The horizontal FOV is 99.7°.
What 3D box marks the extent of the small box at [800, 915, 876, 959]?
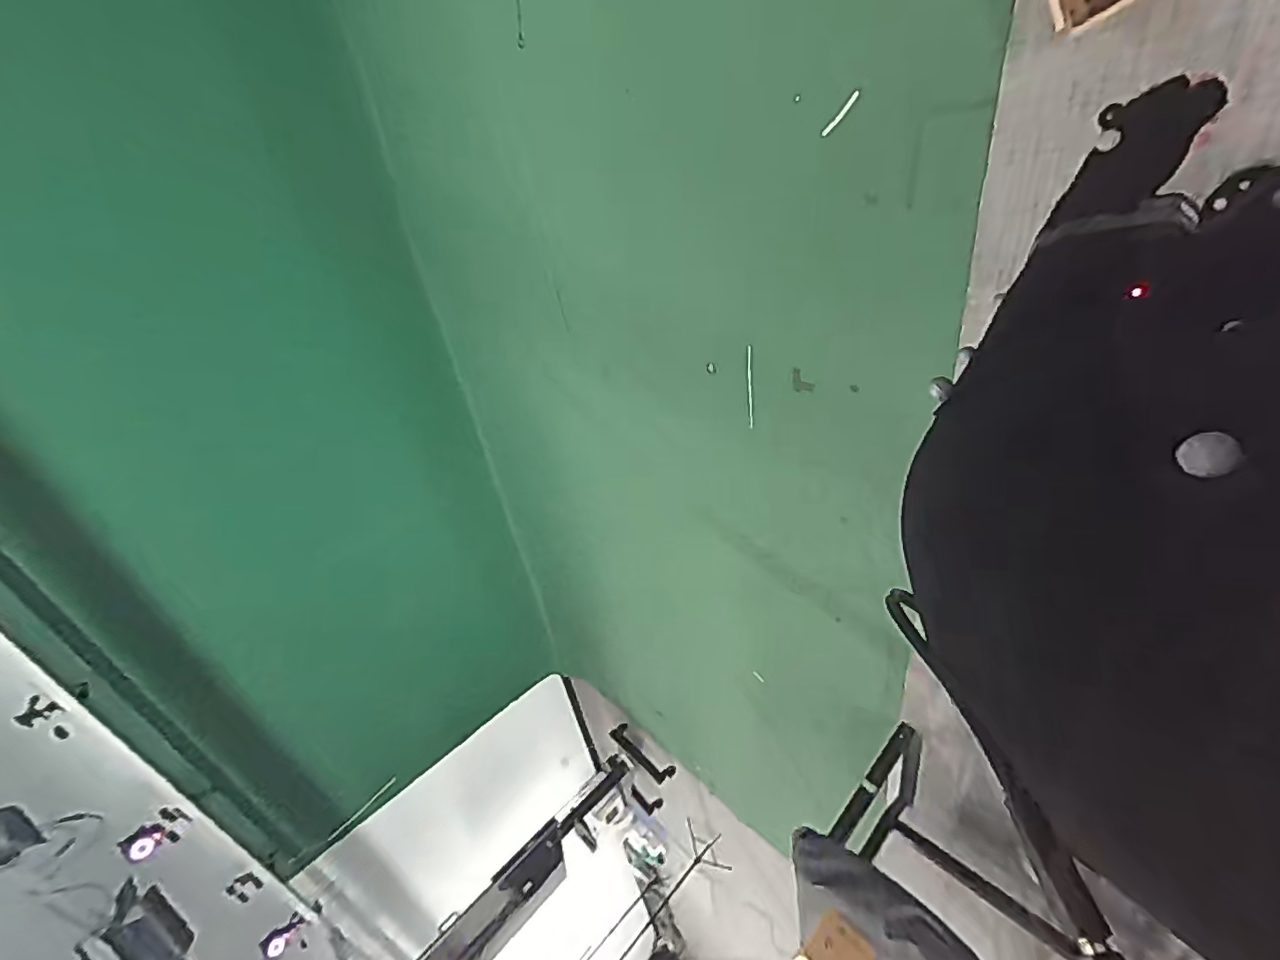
[{"bbox_3d":[0.604,1.488,1.659,0.168,0.176,0.179,35,143,33],"label":"small box"}]
